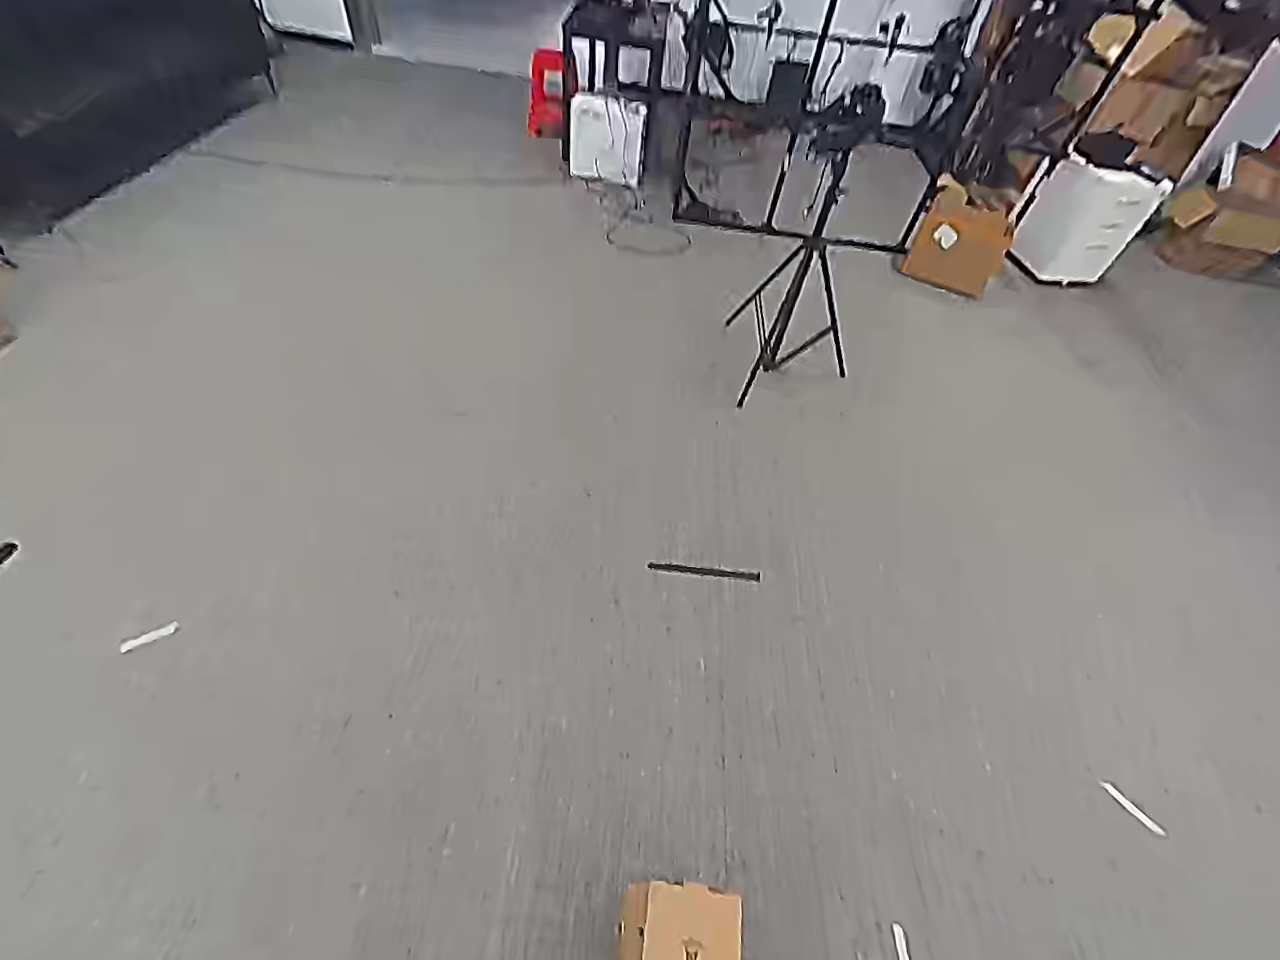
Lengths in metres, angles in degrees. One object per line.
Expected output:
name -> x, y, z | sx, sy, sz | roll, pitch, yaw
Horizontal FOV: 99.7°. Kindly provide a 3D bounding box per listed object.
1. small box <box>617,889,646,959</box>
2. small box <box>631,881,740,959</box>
small box -> 0.049, 0.927, 1.076 | 0.179, 0.176, 0.168 | 5, 48, -3
small box -> 0.074, 0.831, 0.945 | 0.168, 0.176, 0.179 | 10, 48, 1
